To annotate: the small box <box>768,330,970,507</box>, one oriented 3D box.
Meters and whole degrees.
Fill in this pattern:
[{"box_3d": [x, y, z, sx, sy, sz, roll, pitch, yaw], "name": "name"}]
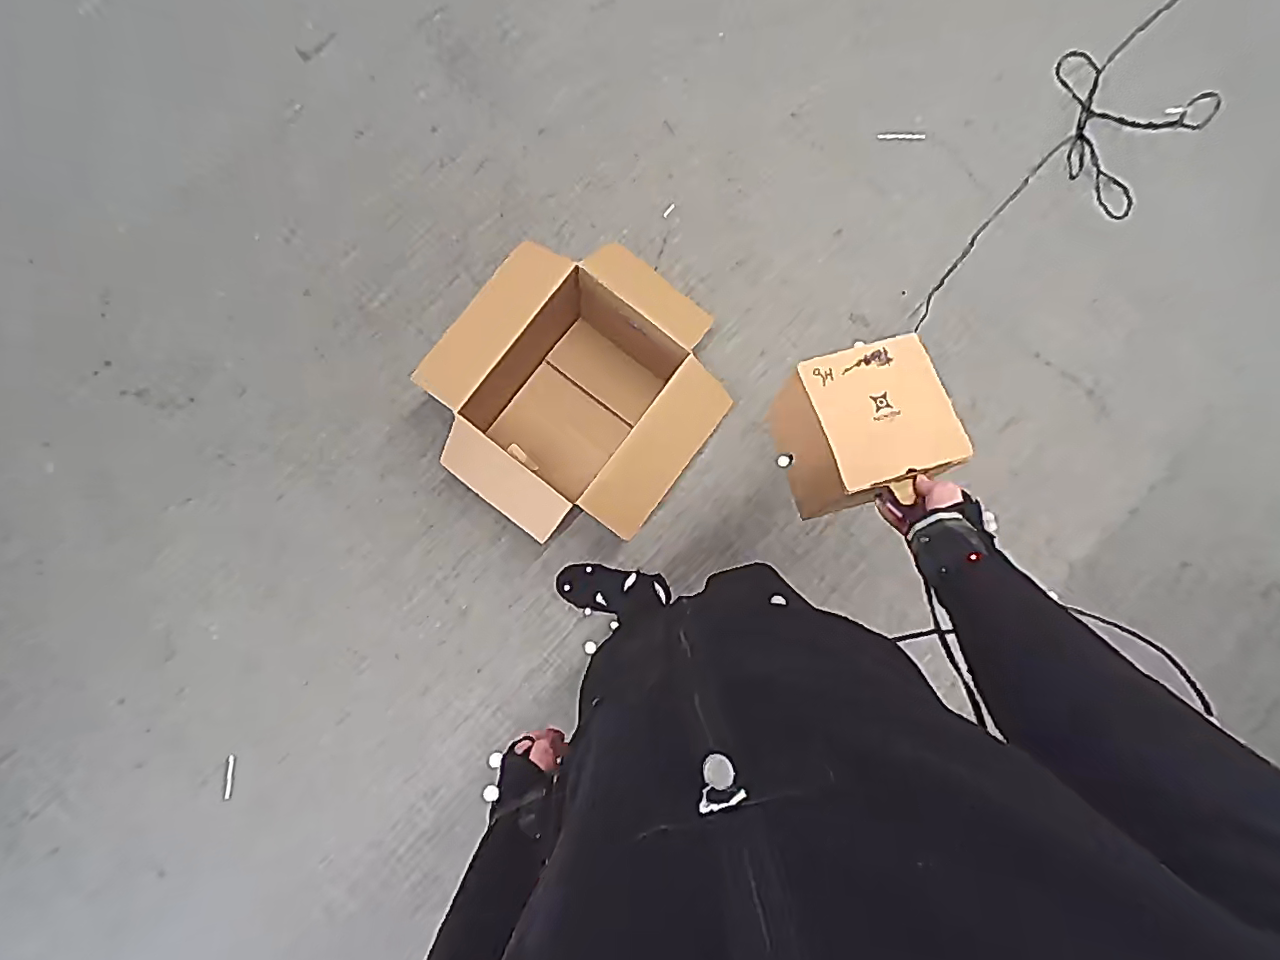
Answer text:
[{"box_3d": [0.291, -0.069, 0.729, 0.168, 0.176, 0.179, -15, 76, -5], "name": "small box"}]
